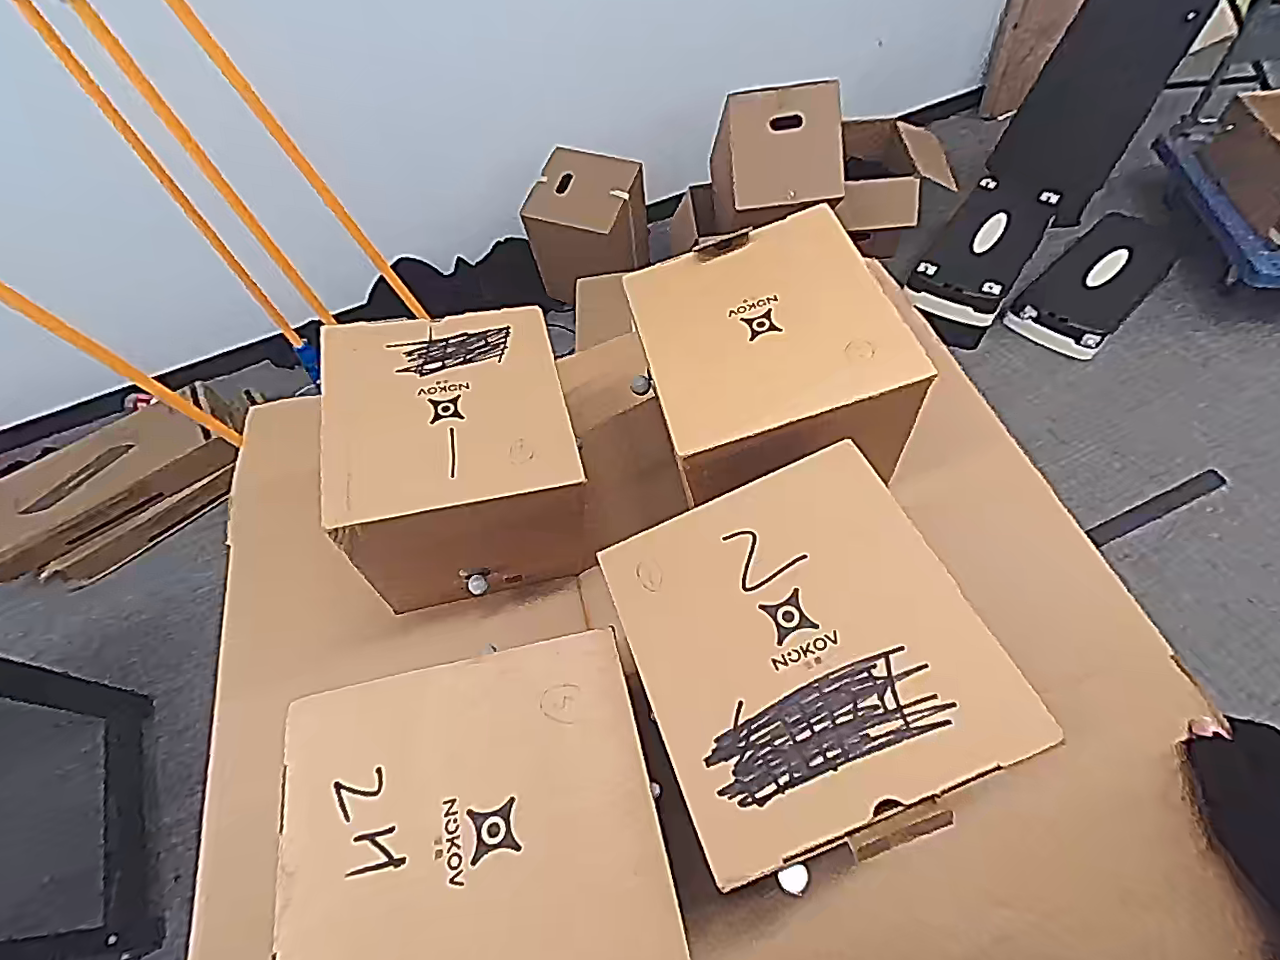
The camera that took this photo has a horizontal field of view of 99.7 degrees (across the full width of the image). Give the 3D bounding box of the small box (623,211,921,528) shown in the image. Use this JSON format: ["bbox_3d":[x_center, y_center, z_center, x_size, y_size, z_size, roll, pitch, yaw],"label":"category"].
[{"bbox_3d":[0.099,-0.075,0.449,0.168,0.176,0.179,-18,60,5],"label":"small box"}]
